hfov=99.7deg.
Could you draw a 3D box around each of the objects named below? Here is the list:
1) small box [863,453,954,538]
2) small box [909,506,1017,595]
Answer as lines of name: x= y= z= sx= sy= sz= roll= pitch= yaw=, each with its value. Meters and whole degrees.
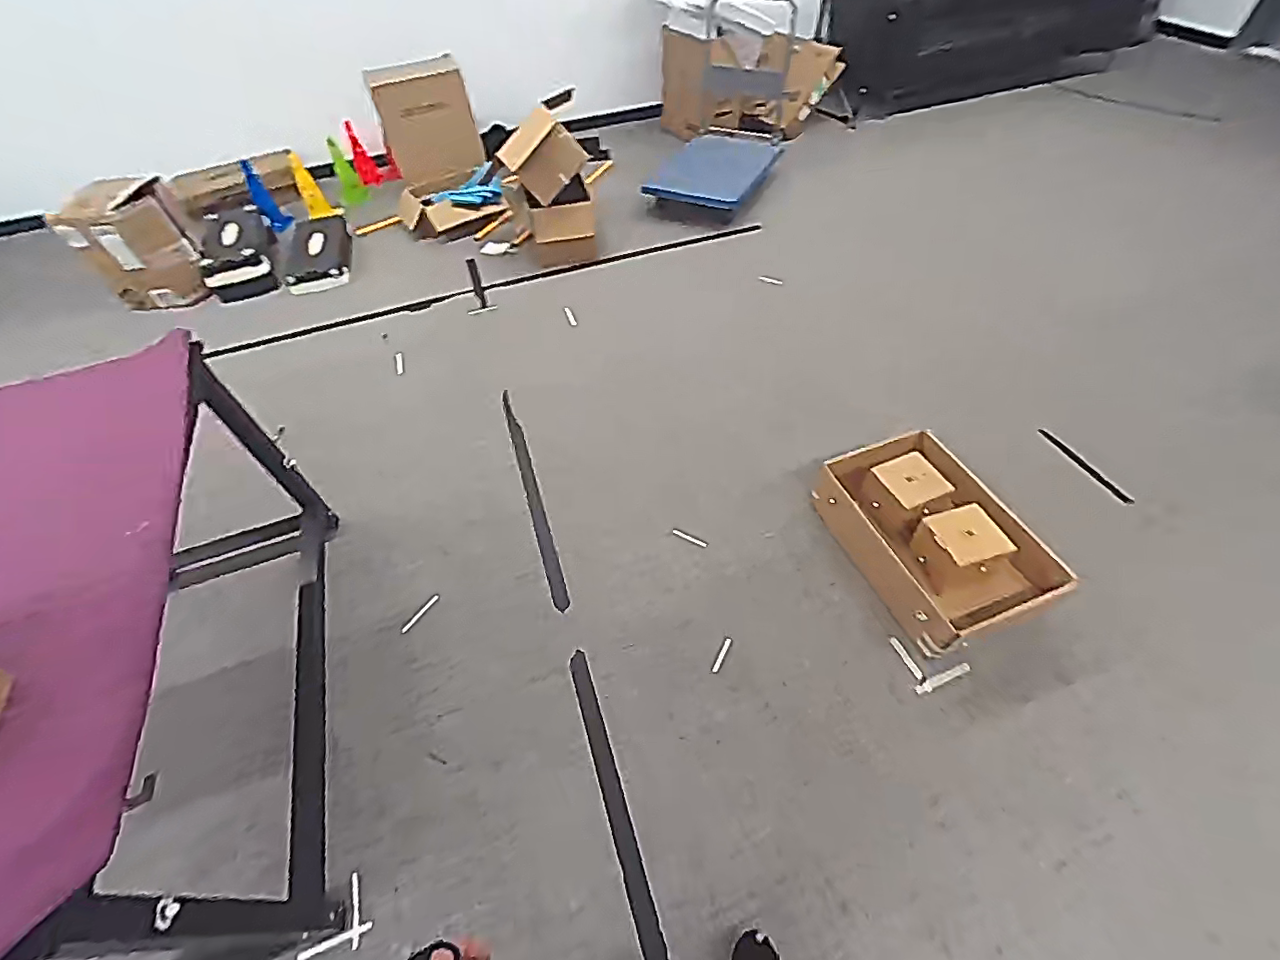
small box: x=0.814 y=0.052 z=1.666 sx=0.179 sy=0.176 sz=0.168 roll=-19 pitch=54 yaw=-12
small box: x=0.908 y=0.202 z=1.540 sx=0.179 sy=0.176 sz=0.168 roll=-14 pitch=51 yaw=-7
